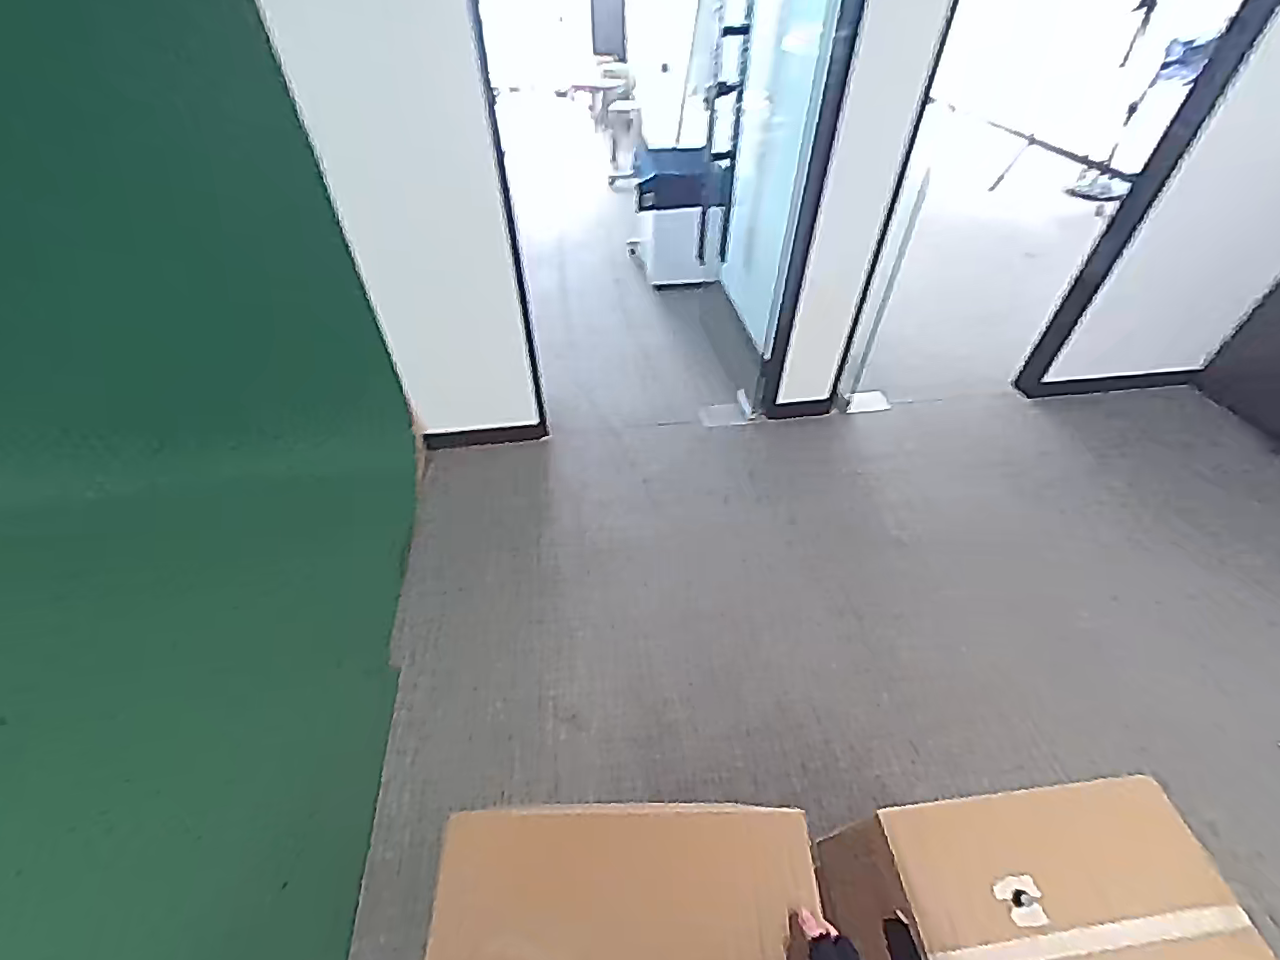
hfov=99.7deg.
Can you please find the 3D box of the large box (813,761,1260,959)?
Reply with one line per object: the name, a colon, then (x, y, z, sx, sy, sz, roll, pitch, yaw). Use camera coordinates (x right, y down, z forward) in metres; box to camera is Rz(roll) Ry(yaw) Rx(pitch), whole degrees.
large box: (0.514, 0.621, 0.759, 0.408, 0.320, 0.320, -5, 50, -4)
